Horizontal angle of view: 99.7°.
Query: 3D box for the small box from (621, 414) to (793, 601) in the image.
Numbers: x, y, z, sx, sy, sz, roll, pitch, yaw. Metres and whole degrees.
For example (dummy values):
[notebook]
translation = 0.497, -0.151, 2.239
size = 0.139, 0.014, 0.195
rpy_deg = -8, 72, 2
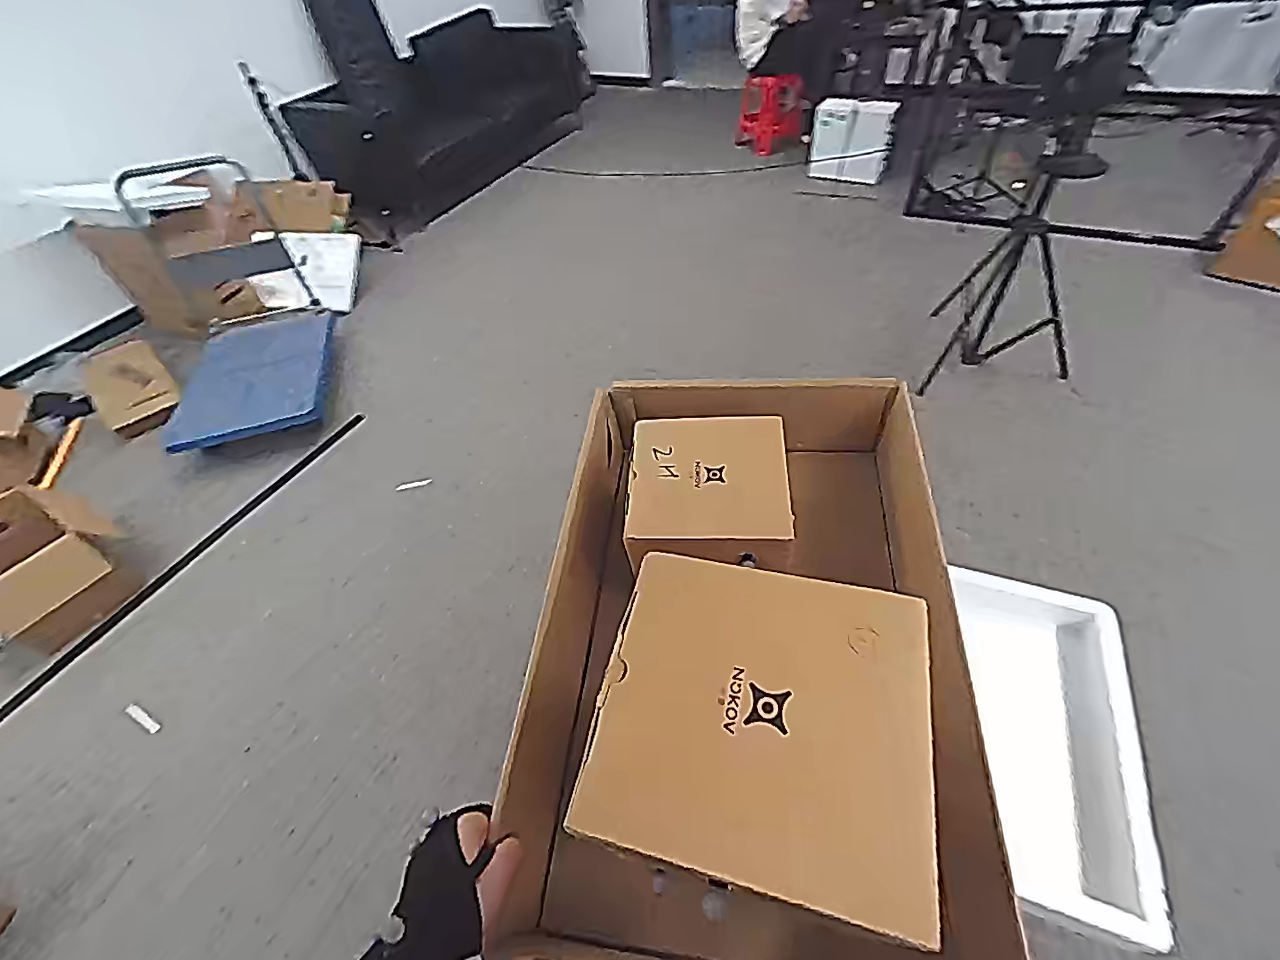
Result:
[small box]
translation = 0.080, 0.038, 0.655
size = 0.179, 0.176, 0.168
rpy_deg = -1, 54, 8
